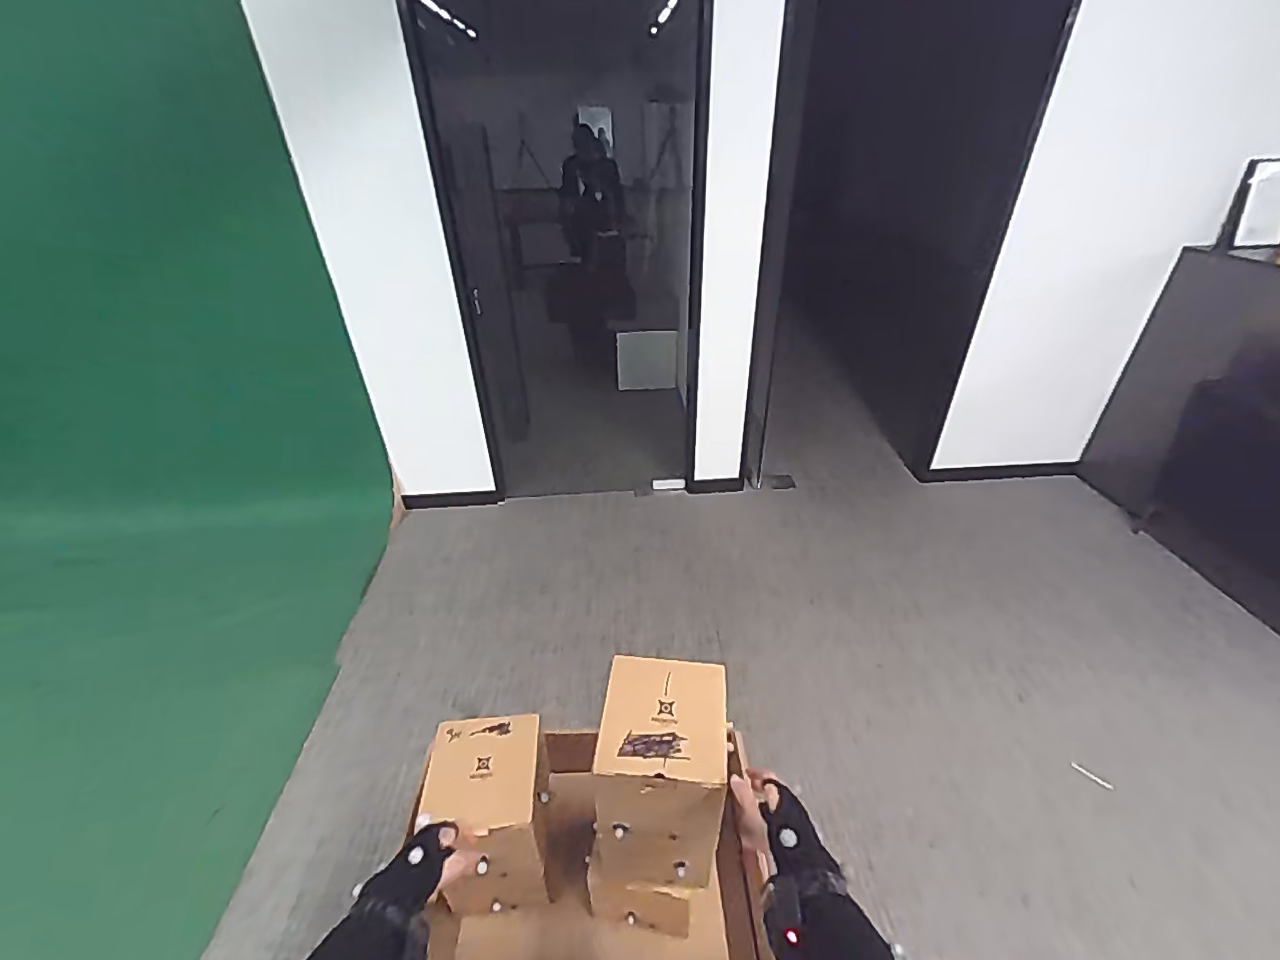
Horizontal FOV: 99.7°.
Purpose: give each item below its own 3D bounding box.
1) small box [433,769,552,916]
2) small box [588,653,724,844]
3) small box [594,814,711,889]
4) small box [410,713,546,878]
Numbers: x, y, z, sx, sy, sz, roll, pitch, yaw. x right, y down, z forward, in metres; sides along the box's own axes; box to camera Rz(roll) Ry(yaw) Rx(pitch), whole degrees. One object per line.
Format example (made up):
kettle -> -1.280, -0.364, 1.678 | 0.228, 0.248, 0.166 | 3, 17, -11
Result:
small box -> -0.250, 0.631, 0.959 | 0.168, 0.176, 0.179 | -4, 34, -4
small box -> 0.029, 0.374, 0.756 | 0.168, 0.176, 0.179 | 4, 33, 6
small box -> 0.025, 0.508, 0.850 | 0.168, 0.176, 0.179 | 2, 34, 3
small box -> -0.241, 0.502, 0.857 | 0.168, 0.176, 0.179 | -3, 34, -4
